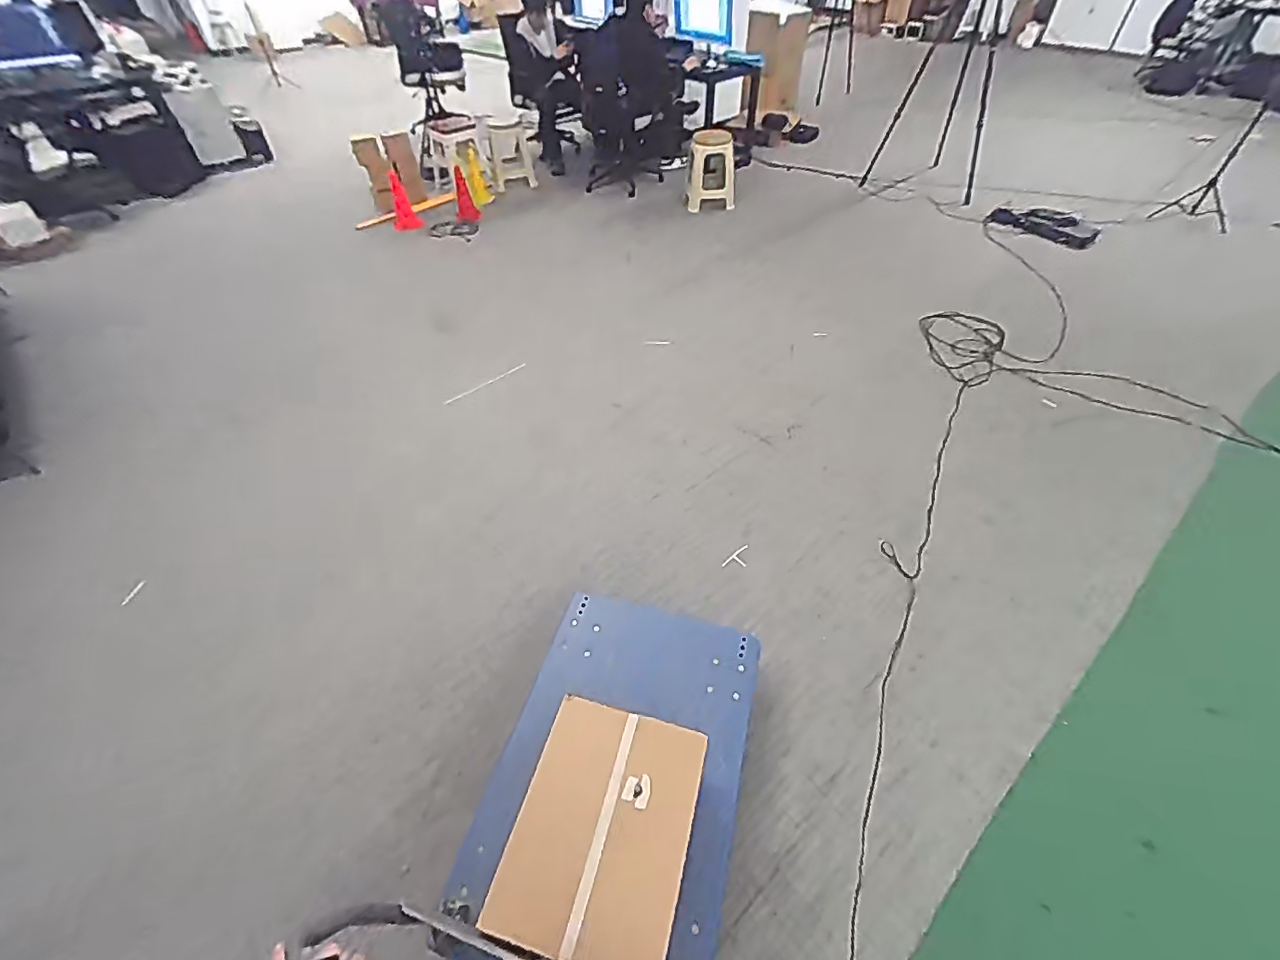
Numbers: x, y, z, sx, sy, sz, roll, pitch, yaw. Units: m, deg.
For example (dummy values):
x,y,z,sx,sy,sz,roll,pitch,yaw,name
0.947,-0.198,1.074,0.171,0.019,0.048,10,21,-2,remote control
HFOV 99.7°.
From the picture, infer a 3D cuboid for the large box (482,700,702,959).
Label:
x,y,z,sx,sy,sz,roll,pitch,yaw,name
-0.067,0.744,1.112,0.320,0.320,0.408,12,47,11,large box
